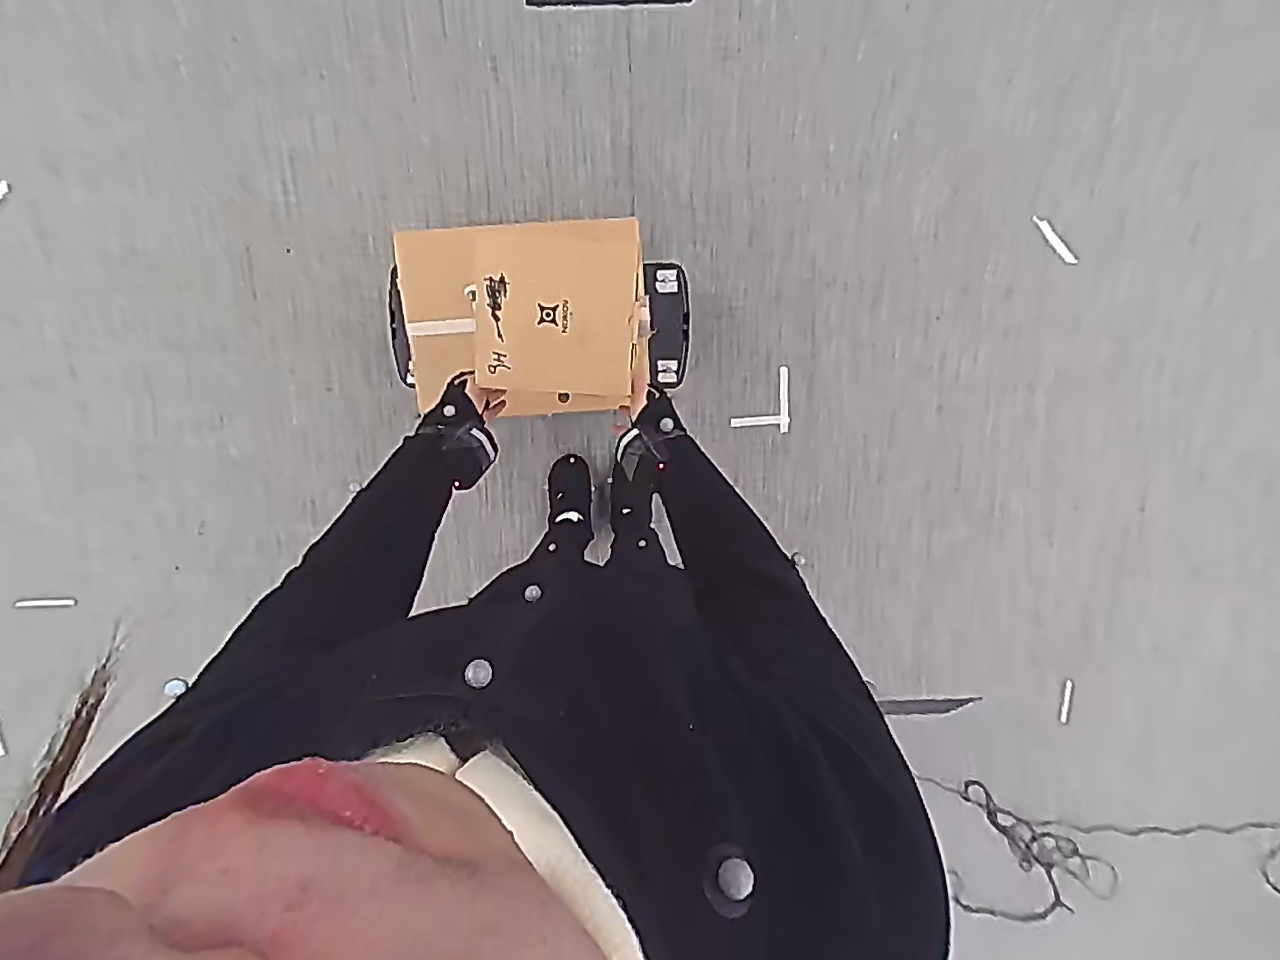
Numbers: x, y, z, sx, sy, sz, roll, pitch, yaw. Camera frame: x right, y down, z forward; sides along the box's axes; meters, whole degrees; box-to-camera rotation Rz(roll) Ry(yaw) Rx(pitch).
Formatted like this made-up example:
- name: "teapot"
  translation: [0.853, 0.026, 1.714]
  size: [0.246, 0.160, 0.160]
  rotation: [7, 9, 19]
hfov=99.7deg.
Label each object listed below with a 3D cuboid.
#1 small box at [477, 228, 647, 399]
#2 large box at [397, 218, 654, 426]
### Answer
- name: "small box"
  translation: [-0.090, -0.191, 0.658]
  size: [0.179, 0.176, 0.168]
  rotation: [4, 100, -4]
- name: "large box"
  translation: [-0.188, -0.289, 1.053]
  size: [0.408, 0.320, 0.320]
  rotation: [-4, 100, 0]
